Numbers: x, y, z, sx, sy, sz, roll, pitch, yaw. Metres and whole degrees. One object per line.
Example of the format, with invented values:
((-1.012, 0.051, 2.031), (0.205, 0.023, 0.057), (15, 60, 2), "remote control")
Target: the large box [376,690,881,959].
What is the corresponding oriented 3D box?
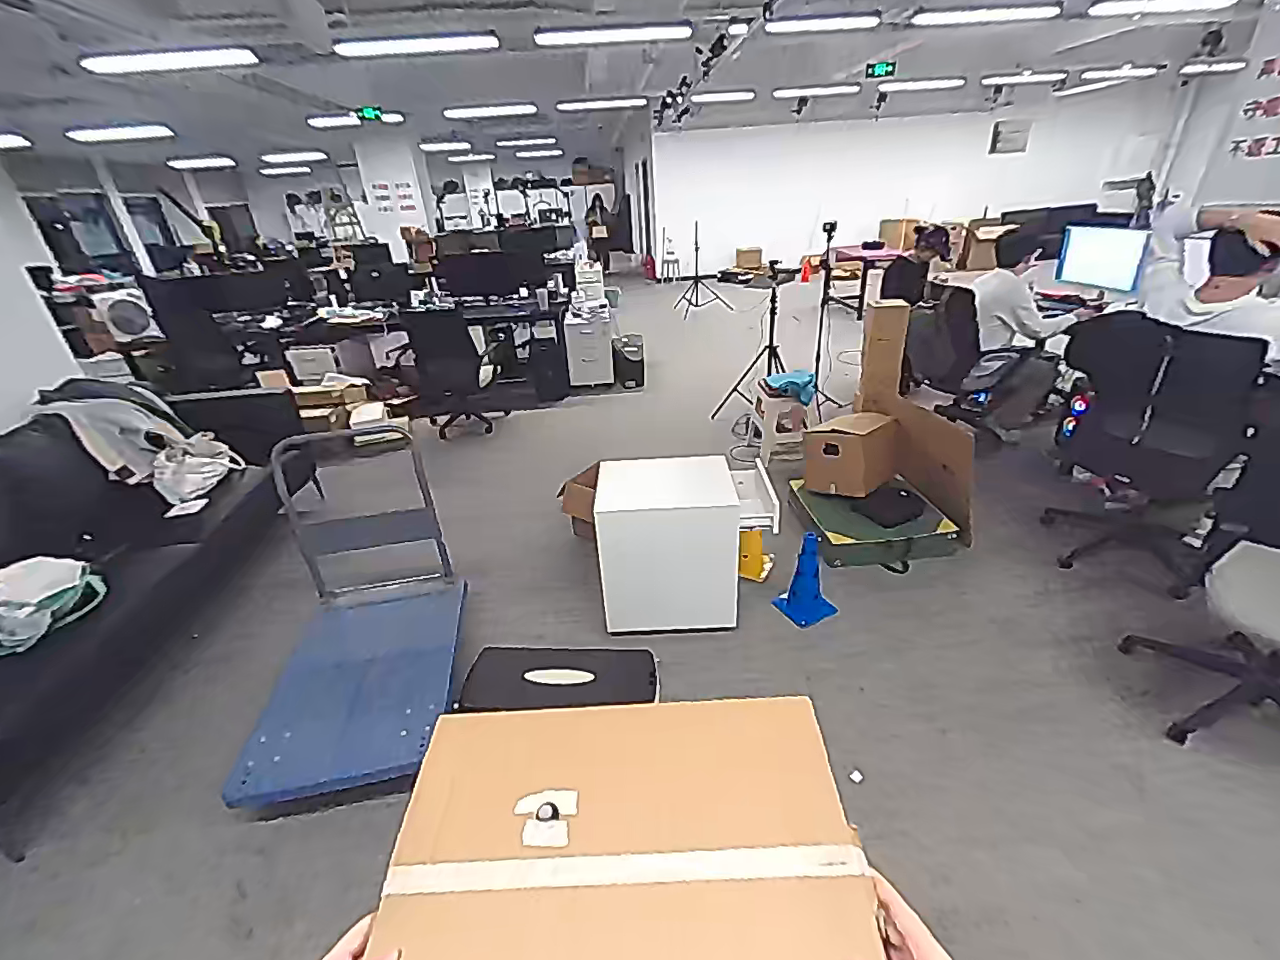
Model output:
((0.002, 0.458, 0.560), (0.408, 0.320, 0.320), (-6, 35, 4), "large box")
